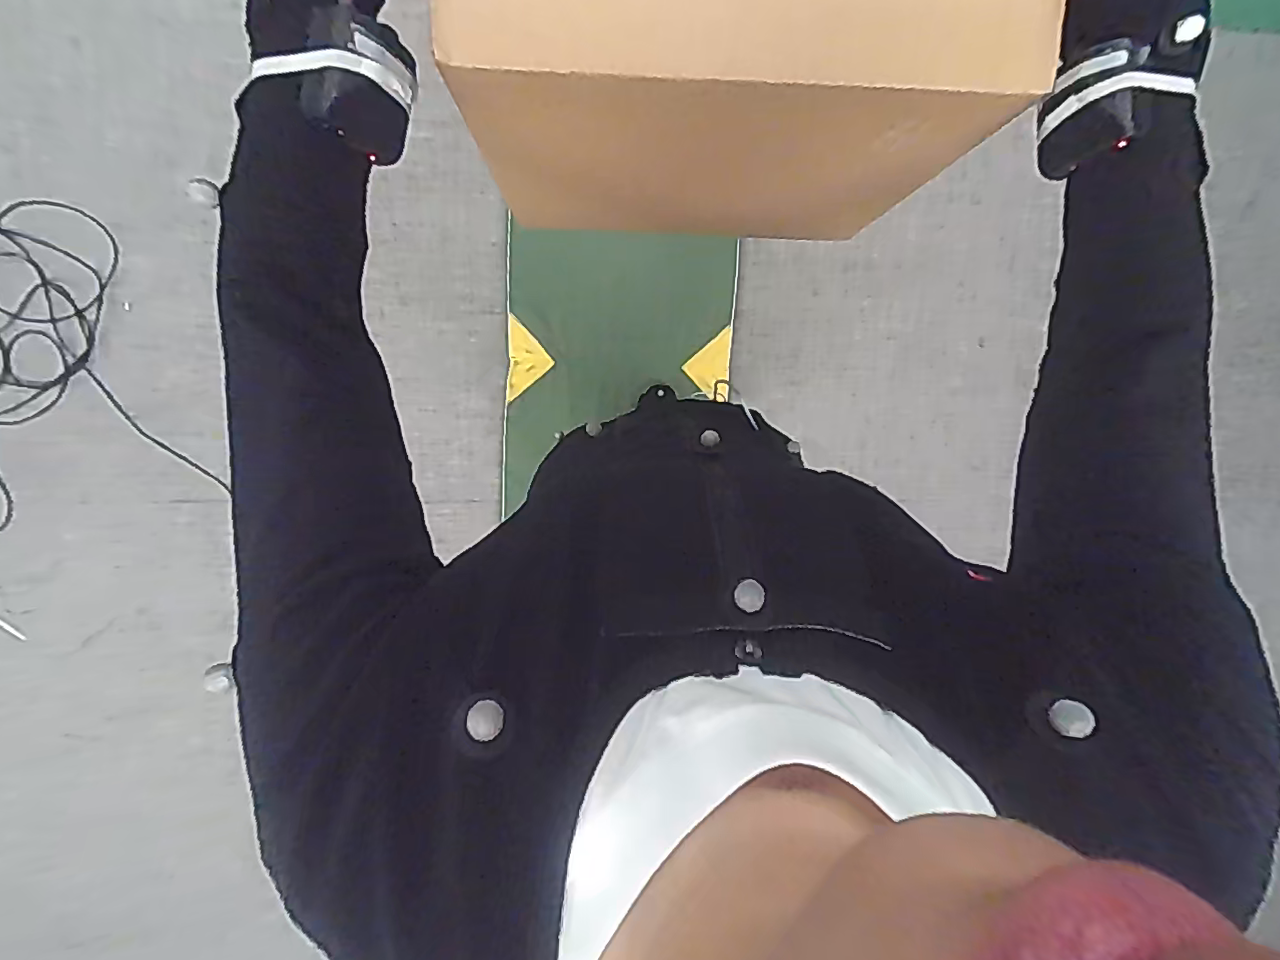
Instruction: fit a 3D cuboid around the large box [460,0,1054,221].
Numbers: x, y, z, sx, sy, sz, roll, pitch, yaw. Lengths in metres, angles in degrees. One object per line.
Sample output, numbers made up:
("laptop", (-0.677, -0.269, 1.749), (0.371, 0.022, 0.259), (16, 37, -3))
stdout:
("large box", (0.071, -0.445, 0.486), (0.408, 0.320, 0.320), (0, 99, -4))
